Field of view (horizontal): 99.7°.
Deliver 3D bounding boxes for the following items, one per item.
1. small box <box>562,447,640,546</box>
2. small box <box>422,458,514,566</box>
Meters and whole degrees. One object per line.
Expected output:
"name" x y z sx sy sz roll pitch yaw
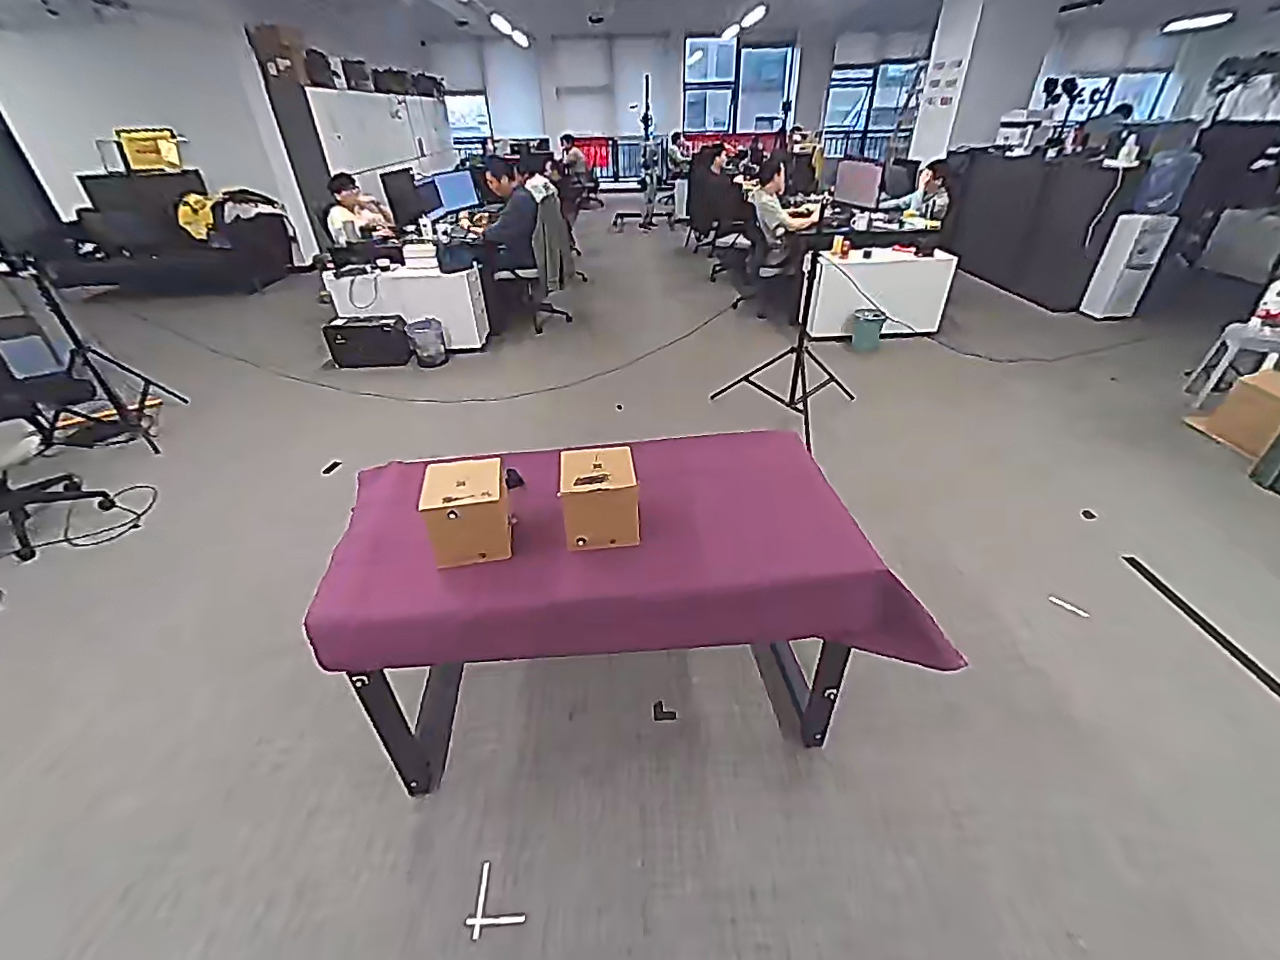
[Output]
"small box" -0.091 0.041 1.267 0.168 0.176 0.179 -4 33 -4
"small box" -0.383 0.070 1.234 0.168 0.176 0.179 -7 34 -9
